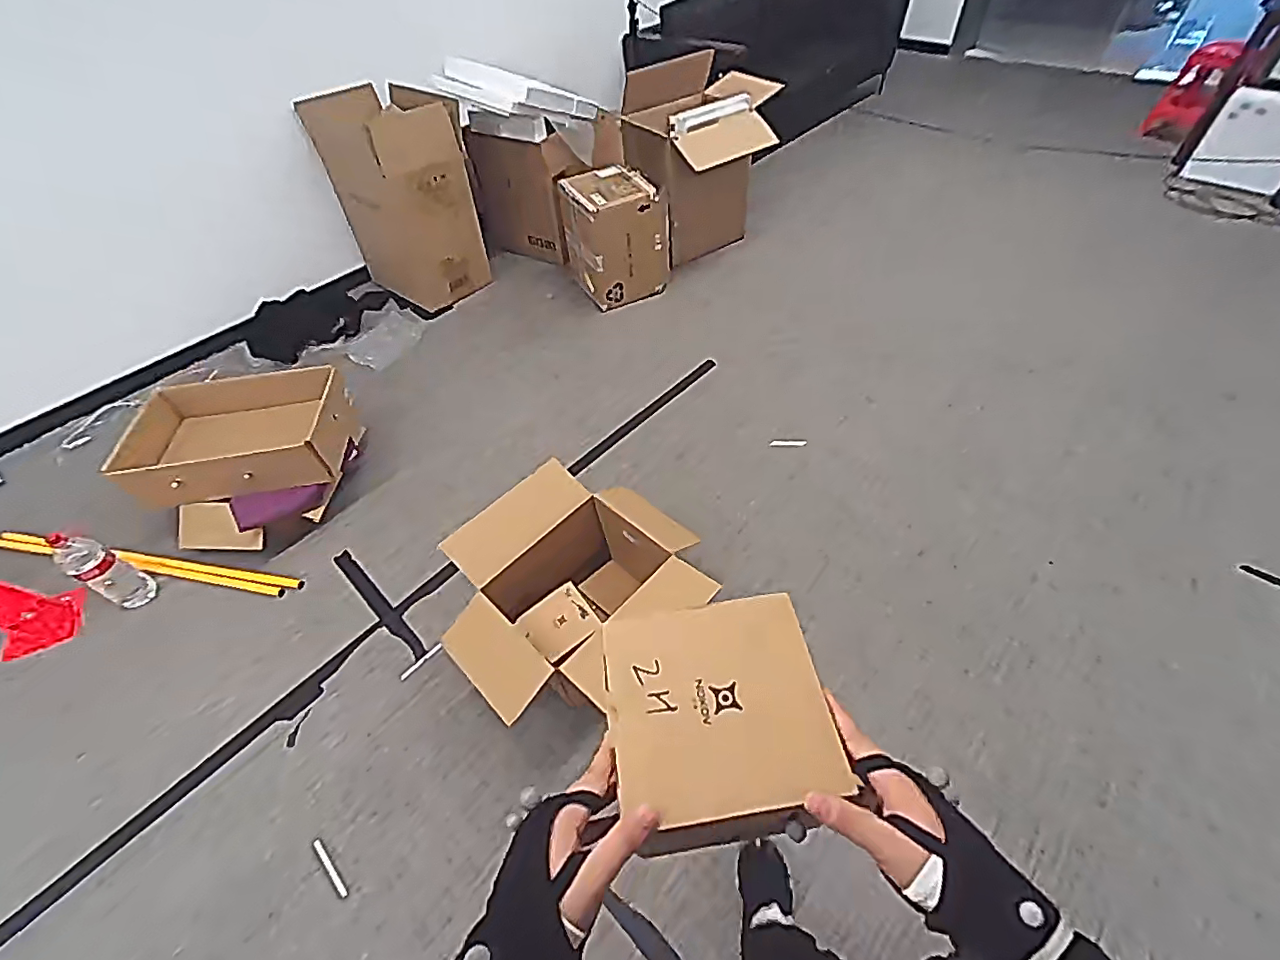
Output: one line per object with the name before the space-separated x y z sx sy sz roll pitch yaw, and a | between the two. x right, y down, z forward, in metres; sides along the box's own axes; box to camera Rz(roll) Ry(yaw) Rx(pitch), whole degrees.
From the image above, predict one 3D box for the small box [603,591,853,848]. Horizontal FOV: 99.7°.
small box | 0.068 0.226 0.504 0.179 0.176 0.168 -10 50 -1
